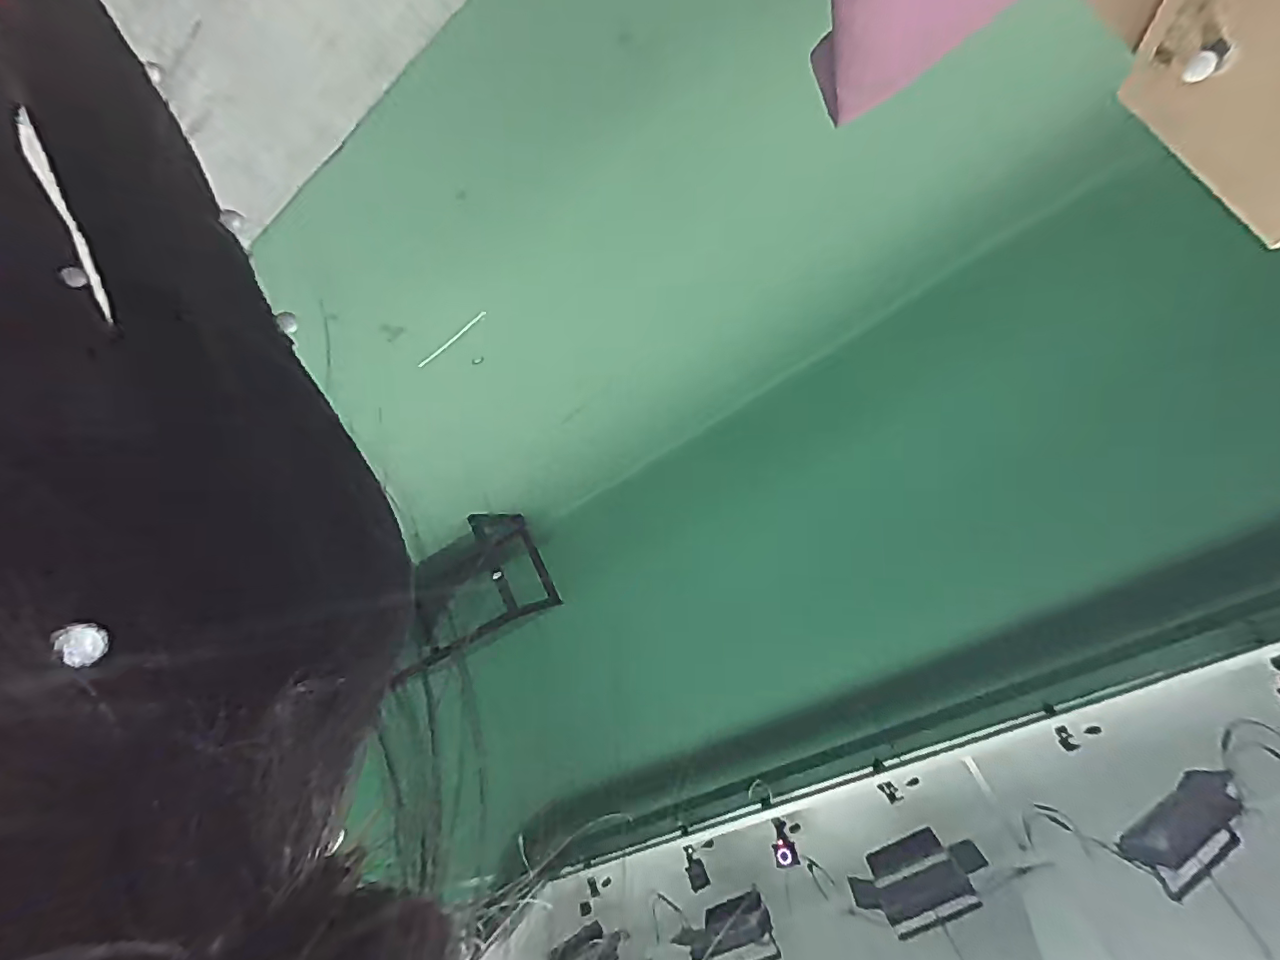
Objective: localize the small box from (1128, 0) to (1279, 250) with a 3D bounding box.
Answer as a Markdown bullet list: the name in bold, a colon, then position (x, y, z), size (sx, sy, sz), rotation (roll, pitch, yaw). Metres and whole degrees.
- **small box**: position (0.441, -0.276, 0.295), size (0.179, 0.176, 0.168), rotation (-33, 164, 21)

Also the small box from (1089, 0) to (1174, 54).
- **small box**: position (0.370, -0.423, 0.315), size (0.179, 0.176, 0.168), rotation (-34, 164, 21)
